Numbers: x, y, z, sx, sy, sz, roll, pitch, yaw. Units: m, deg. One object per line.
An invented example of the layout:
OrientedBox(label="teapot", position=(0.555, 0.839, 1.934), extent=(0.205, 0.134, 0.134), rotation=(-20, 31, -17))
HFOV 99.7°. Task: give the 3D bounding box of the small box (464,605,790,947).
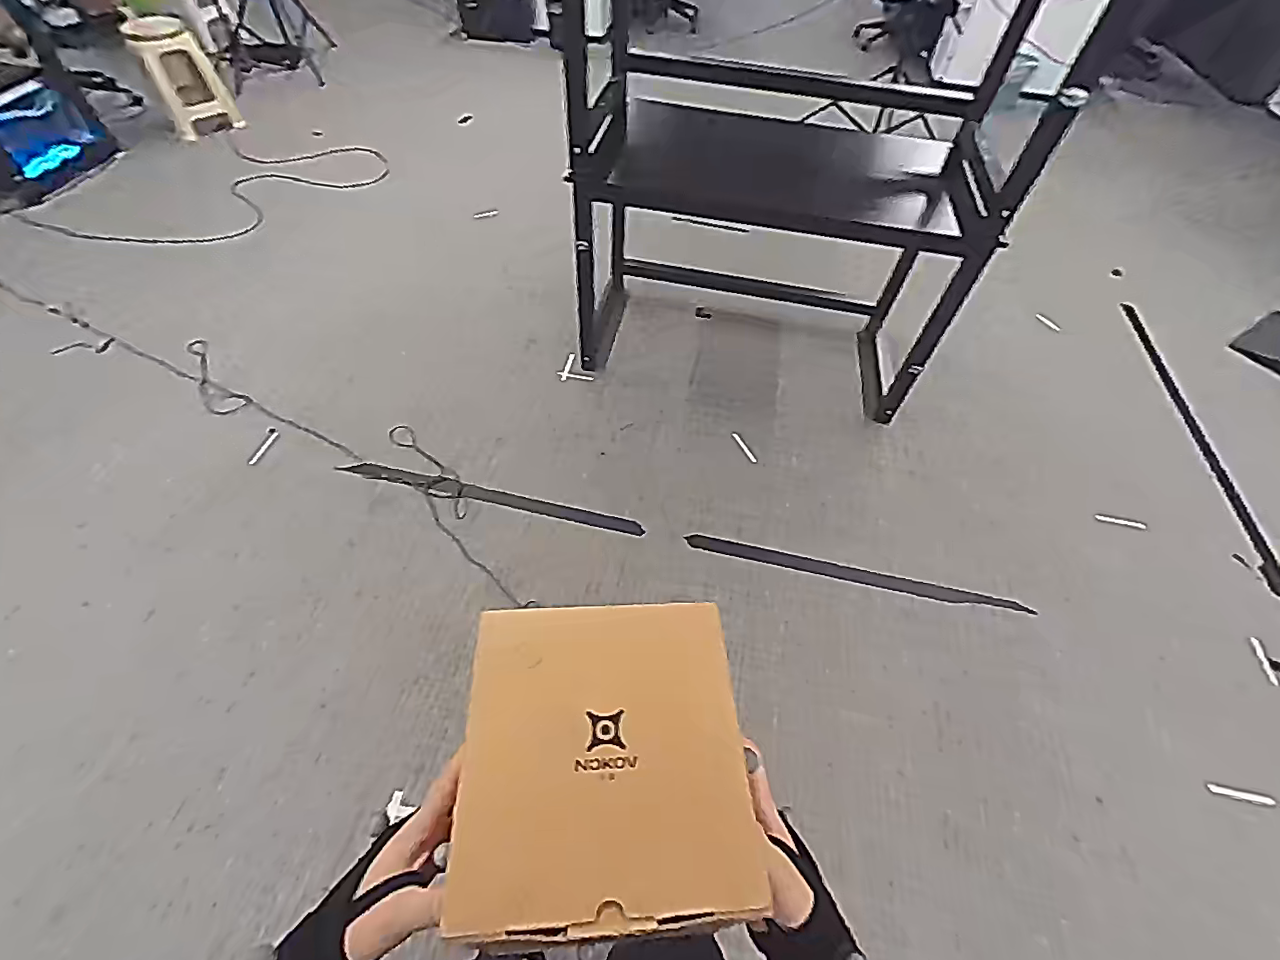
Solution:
OrientedBox(label="small box", position=(-0.015, 0.206, 0.380), extent=(0.168, 0.176, 0.179), rotation=(0, 49, -5))
